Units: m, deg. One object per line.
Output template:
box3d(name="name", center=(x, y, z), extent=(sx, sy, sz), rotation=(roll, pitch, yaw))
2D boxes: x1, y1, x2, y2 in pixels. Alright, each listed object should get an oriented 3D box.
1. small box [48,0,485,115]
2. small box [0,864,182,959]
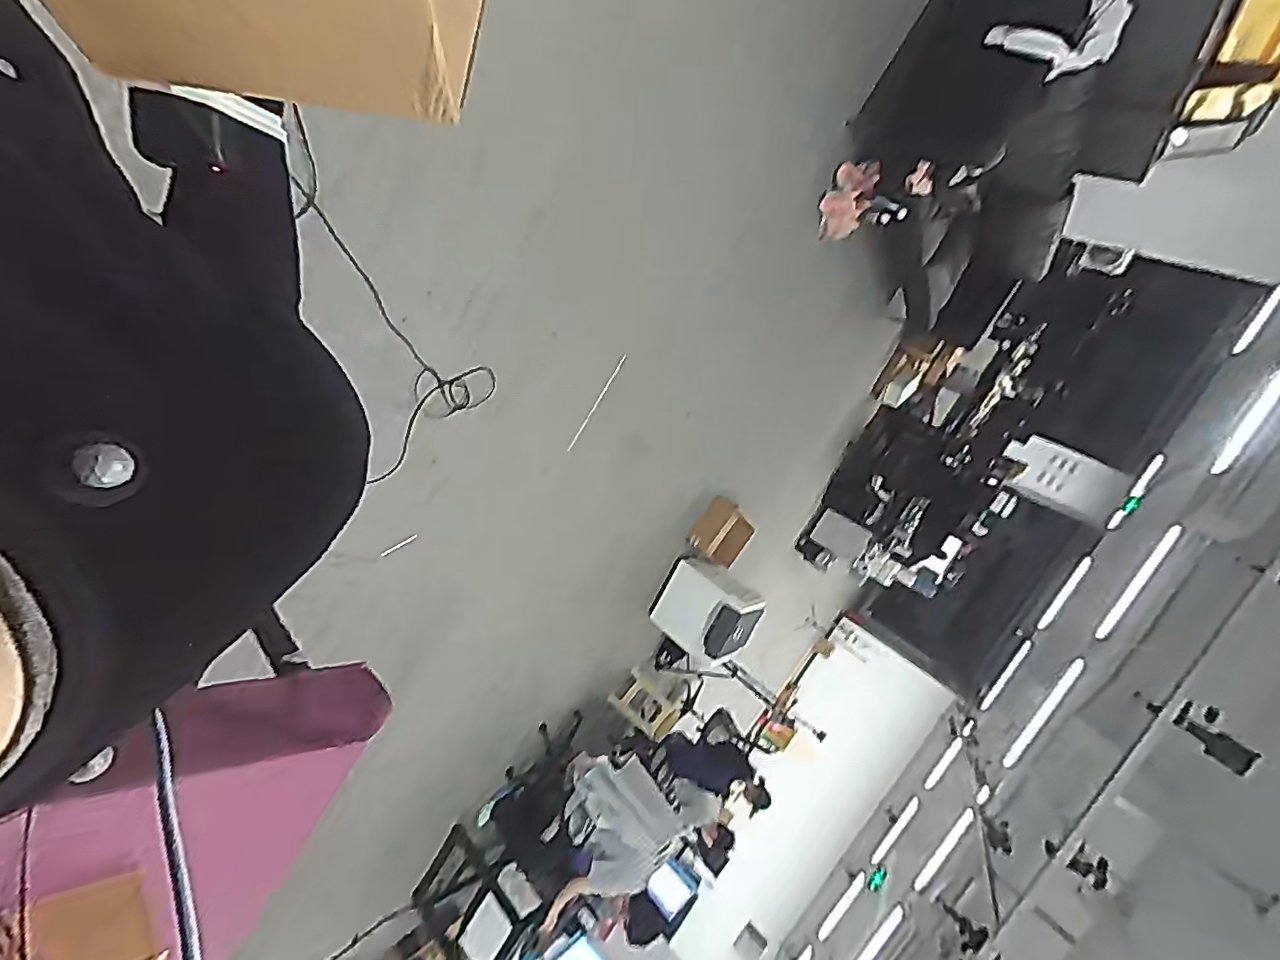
box3d(name="small box", center=(-0.154, -0.289, 0.204), extent=(0.176, 0.168, 0.179), rotation=(107, -13, -71))
box3d(name="small box", center=(-0.888, 0.767, 0.862), extent=(0.168, 0.176, 0.179), rotation=(-59, 148, 6))
